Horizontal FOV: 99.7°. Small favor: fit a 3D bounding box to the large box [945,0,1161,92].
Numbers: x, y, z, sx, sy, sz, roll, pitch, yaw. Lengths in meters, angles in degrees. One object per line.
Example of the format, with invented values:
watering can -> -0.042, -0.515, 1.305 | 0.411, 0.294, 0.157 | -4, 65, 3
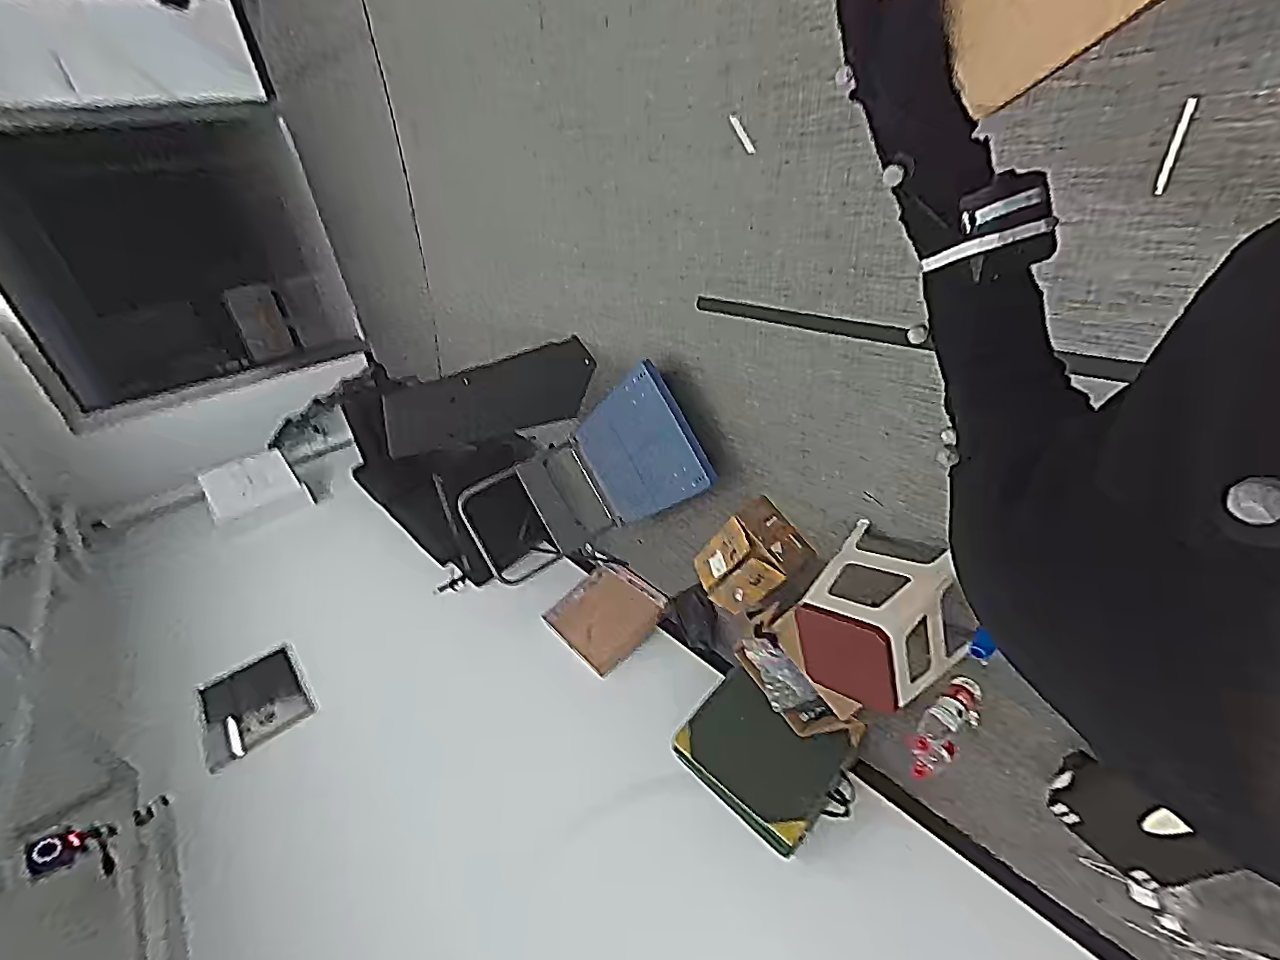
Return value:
large box -> 0.353, -0.495, 0.248 | 0.320, 0.320, 0.408 | 56, 150, -11
